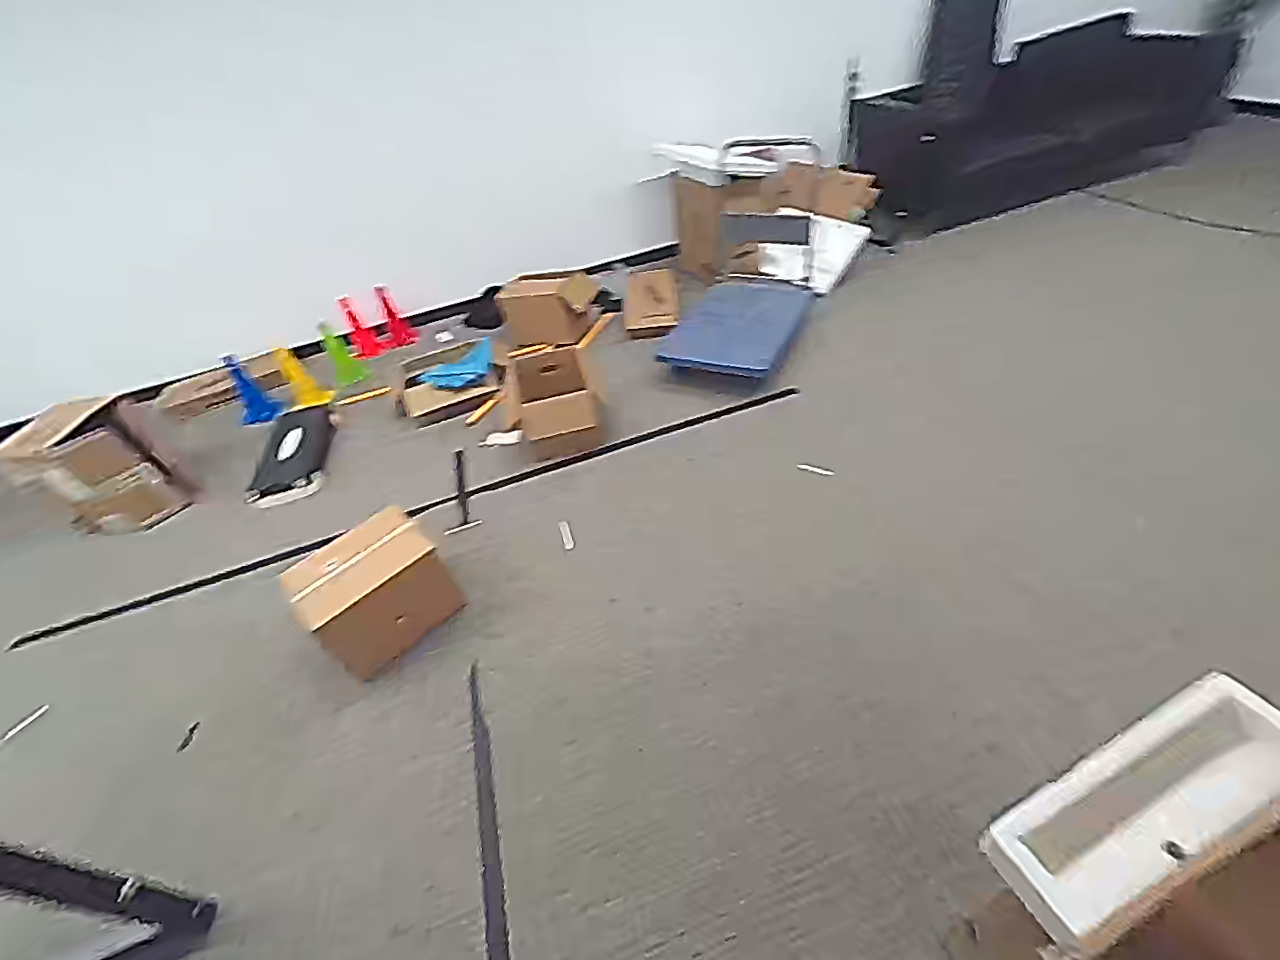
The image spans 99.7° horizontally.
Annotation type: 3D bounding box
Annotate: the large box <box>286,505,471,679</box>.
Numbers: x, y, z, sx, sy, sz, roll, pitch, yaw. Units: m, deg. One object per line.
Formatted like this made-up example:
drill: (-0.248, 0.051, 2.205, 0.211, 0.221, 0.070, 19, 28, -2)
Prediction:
large box: (-0.855, 0.364, 1.806, 0.408, 0.320, 0.320, -39, 48, -26)
